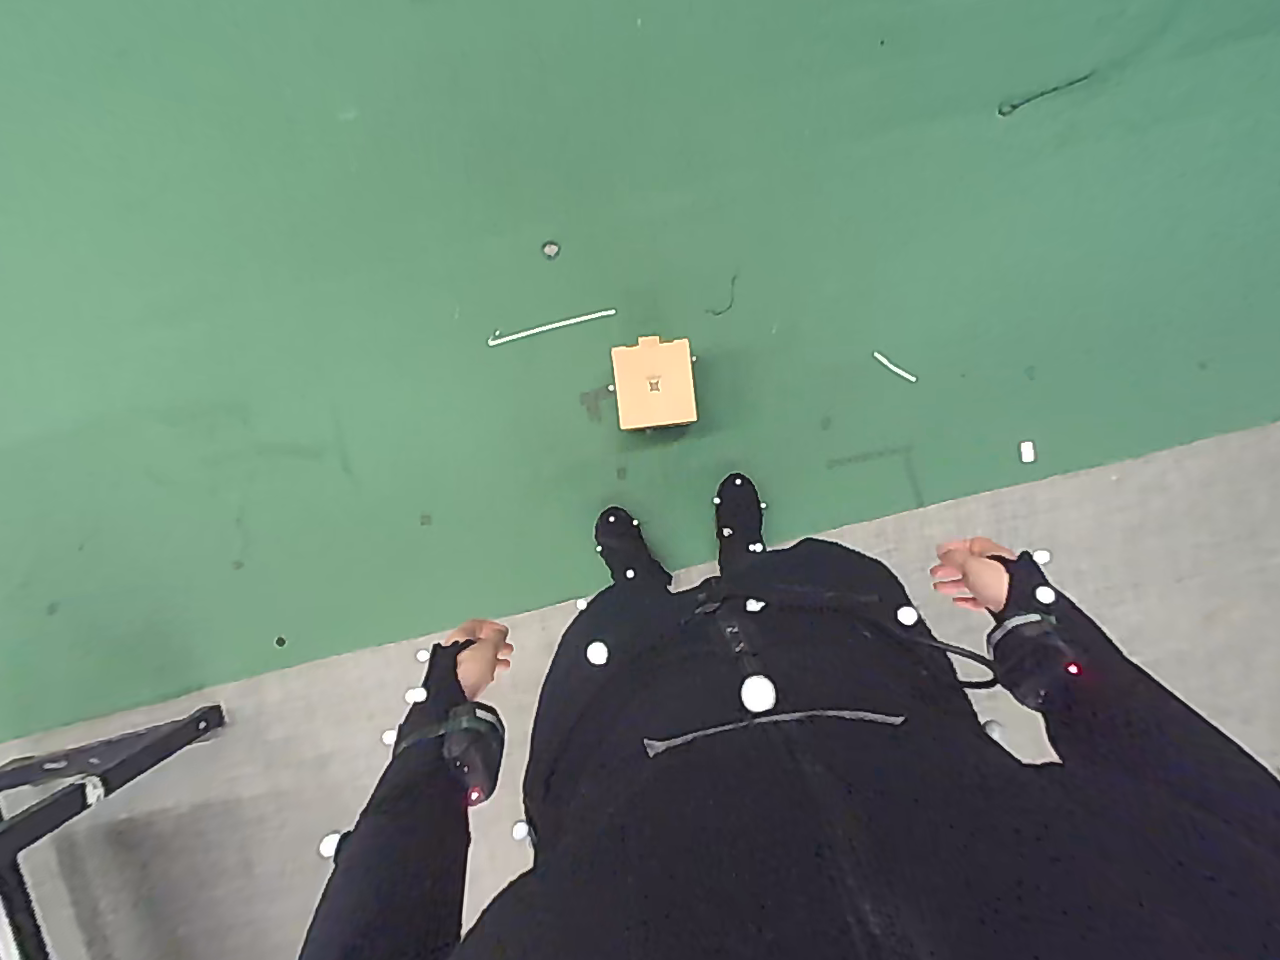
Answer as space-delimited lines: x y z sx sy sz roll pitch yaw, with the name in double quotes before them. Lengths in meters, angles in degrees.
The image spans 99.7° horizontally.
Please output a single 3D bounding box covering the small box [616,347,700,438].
"small box" 0.042 -0.190 1.224 0.168 0.176 0.179 -7 92 1
